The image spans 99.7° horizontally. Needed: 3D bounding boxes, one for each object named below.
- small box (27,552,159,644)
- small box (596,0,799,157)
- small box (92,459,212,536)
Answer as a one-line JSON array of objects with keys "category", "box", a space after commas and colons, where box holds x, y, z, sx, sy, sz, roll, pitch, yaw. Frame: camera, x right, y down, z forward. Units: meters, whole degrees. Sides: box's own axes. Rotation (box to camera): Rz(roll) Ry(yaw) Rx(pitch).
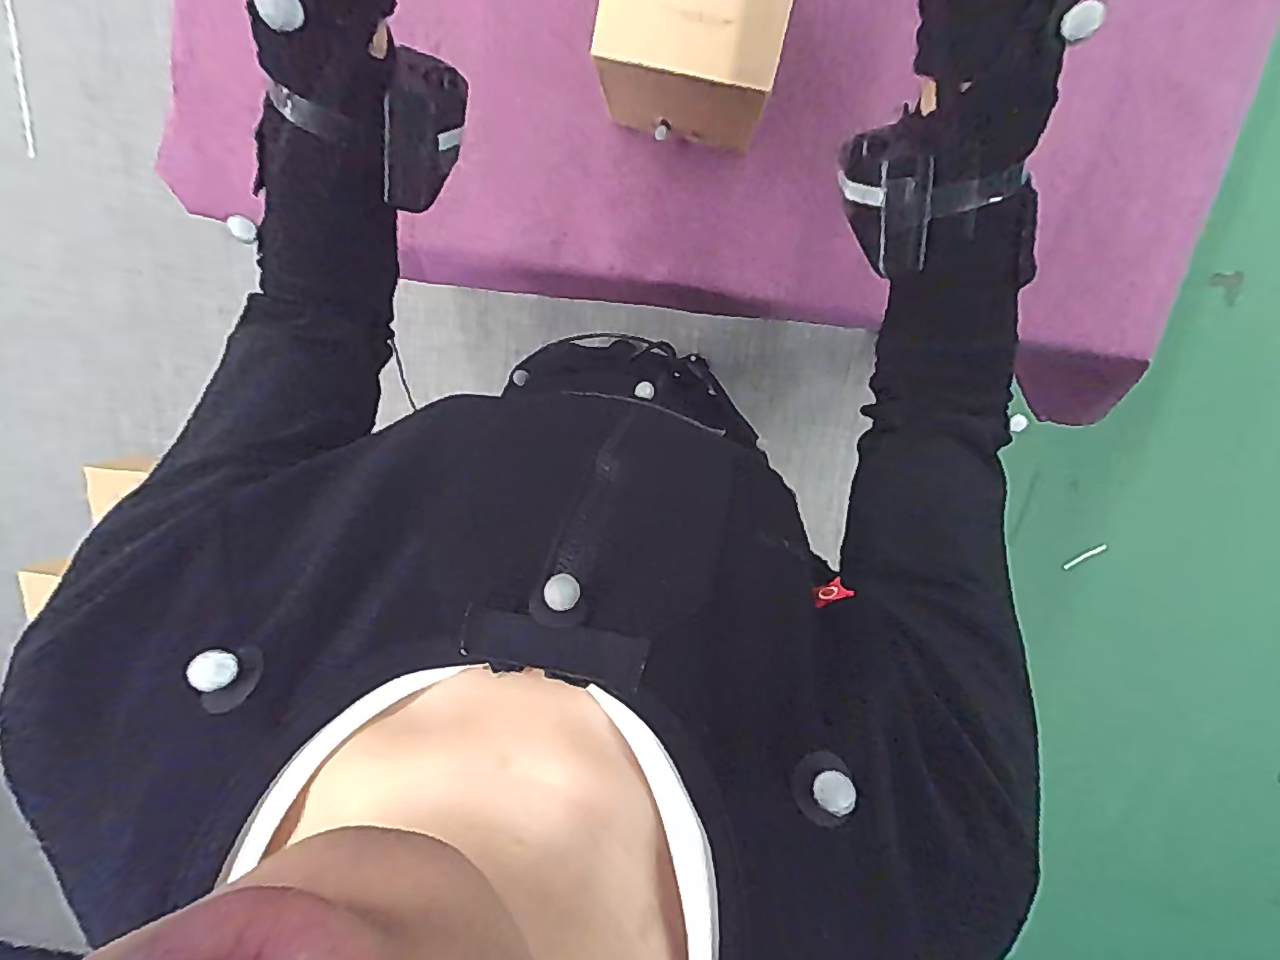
[{"category": "small box", "box": [-1.392, 0.298, 1.394, 0.179, 0.176, 0.168, 7, 105, 2]}, {"category": "small box", "box": [0.062, -0.454, 0.531, 0.168, 0.176, 0.179, 13, 105, 1]}, {"category": "small box", "box": [-1.340, 0.043, 1.494, 0.179, 0.176, 0.168, 6, 105, 3]}]
